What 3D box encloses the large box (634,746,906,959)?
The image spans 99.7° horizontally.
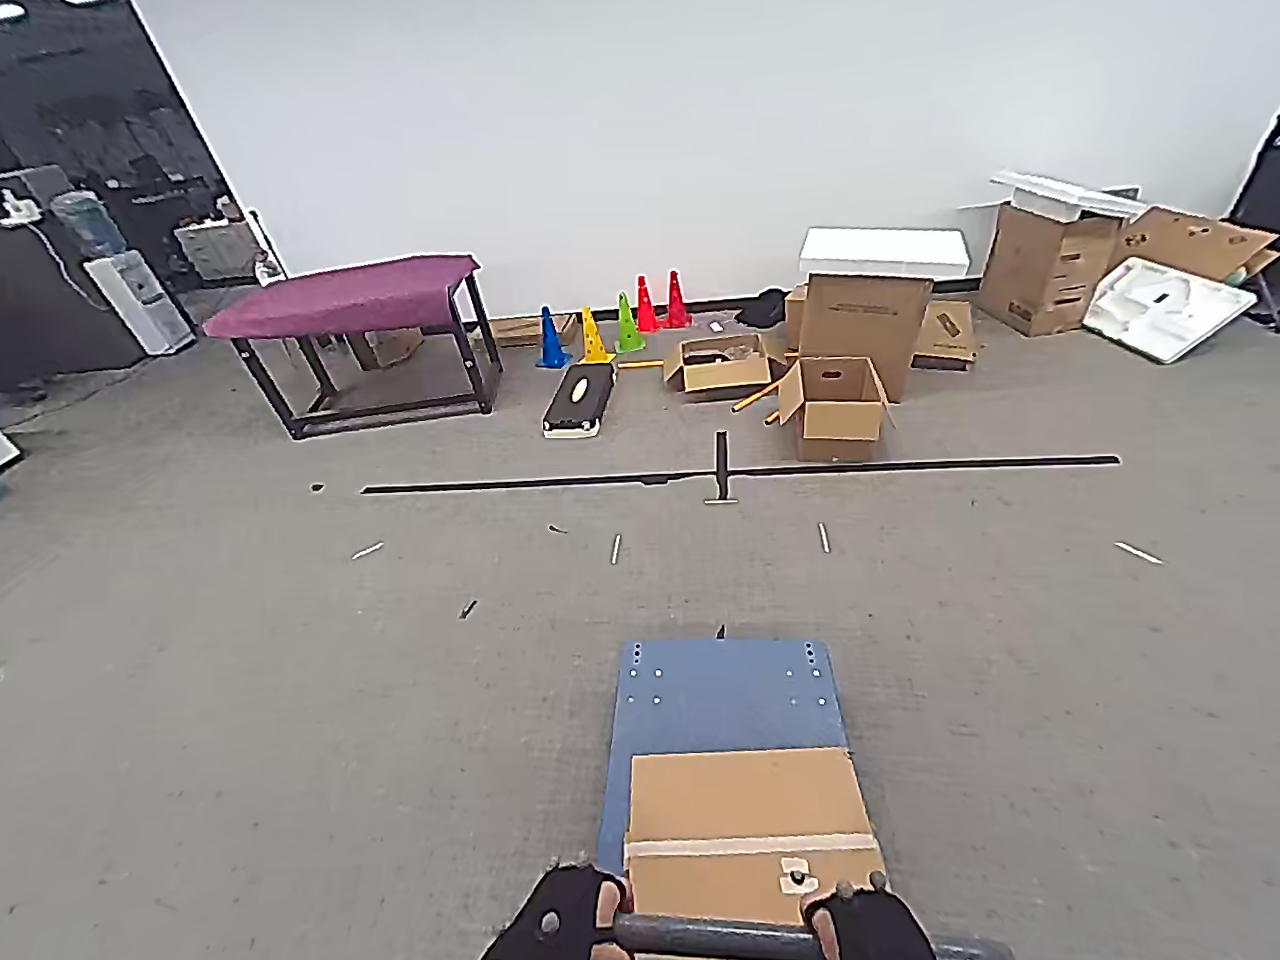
[{"bbox_3d":[0.201,0.728,0.995,0.408,0.320,0.320,-4,38,4],"label":"large box"}]
